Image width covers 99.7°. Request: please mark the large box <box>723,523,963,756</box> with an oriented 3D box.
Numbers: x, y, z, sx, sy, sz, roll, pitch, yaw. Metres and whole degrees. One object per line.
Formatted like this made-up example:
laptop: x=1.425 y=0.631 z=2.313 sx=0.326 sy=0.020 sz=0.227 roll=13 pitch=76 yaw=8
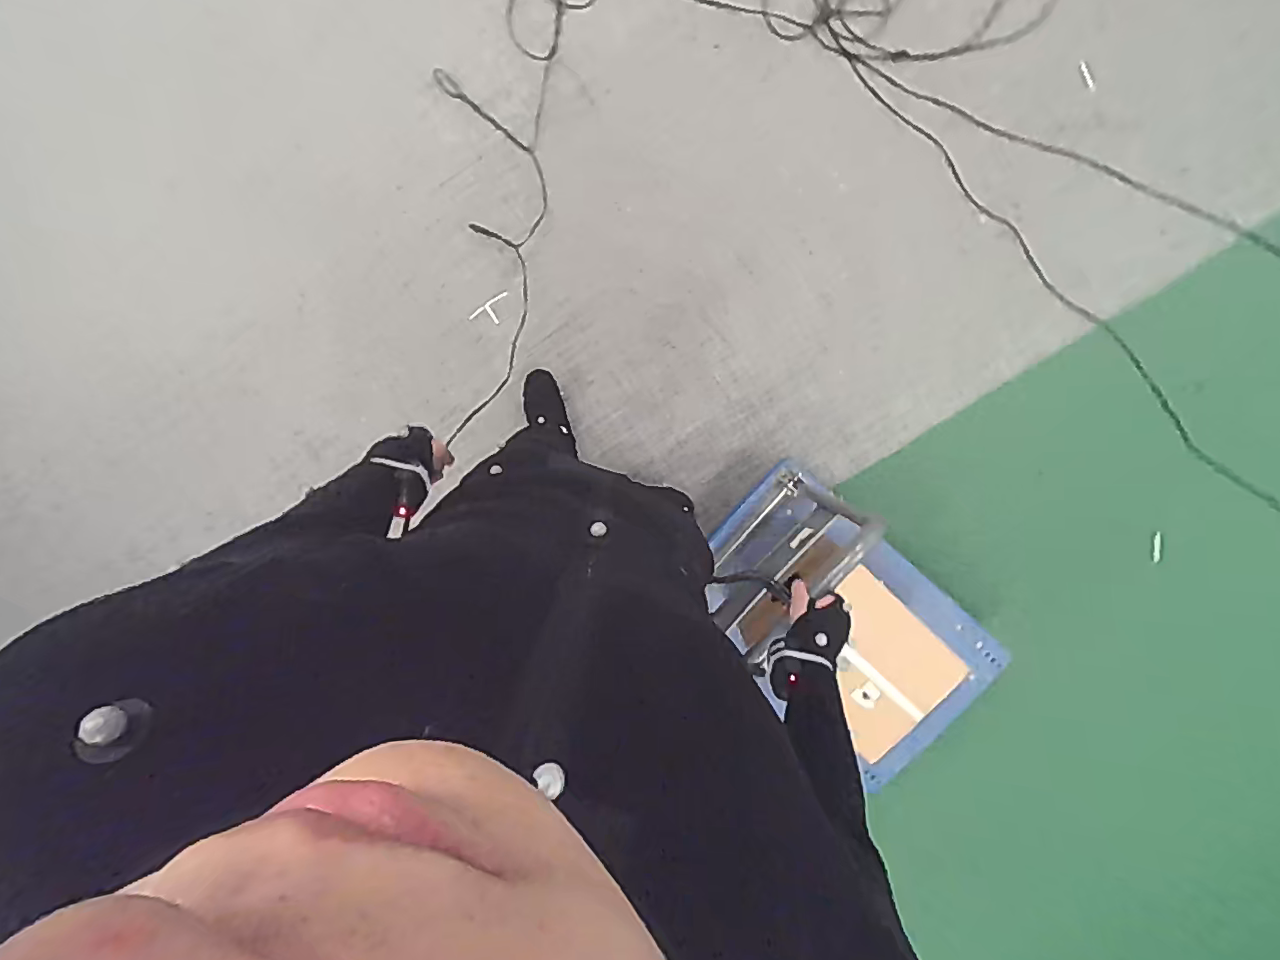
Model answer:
large box: x=0.473 y=0.371 z=1.348 sx=0.408 sy=0.320 sz=0.320 roll=43 pitch=96 yaw=-7
